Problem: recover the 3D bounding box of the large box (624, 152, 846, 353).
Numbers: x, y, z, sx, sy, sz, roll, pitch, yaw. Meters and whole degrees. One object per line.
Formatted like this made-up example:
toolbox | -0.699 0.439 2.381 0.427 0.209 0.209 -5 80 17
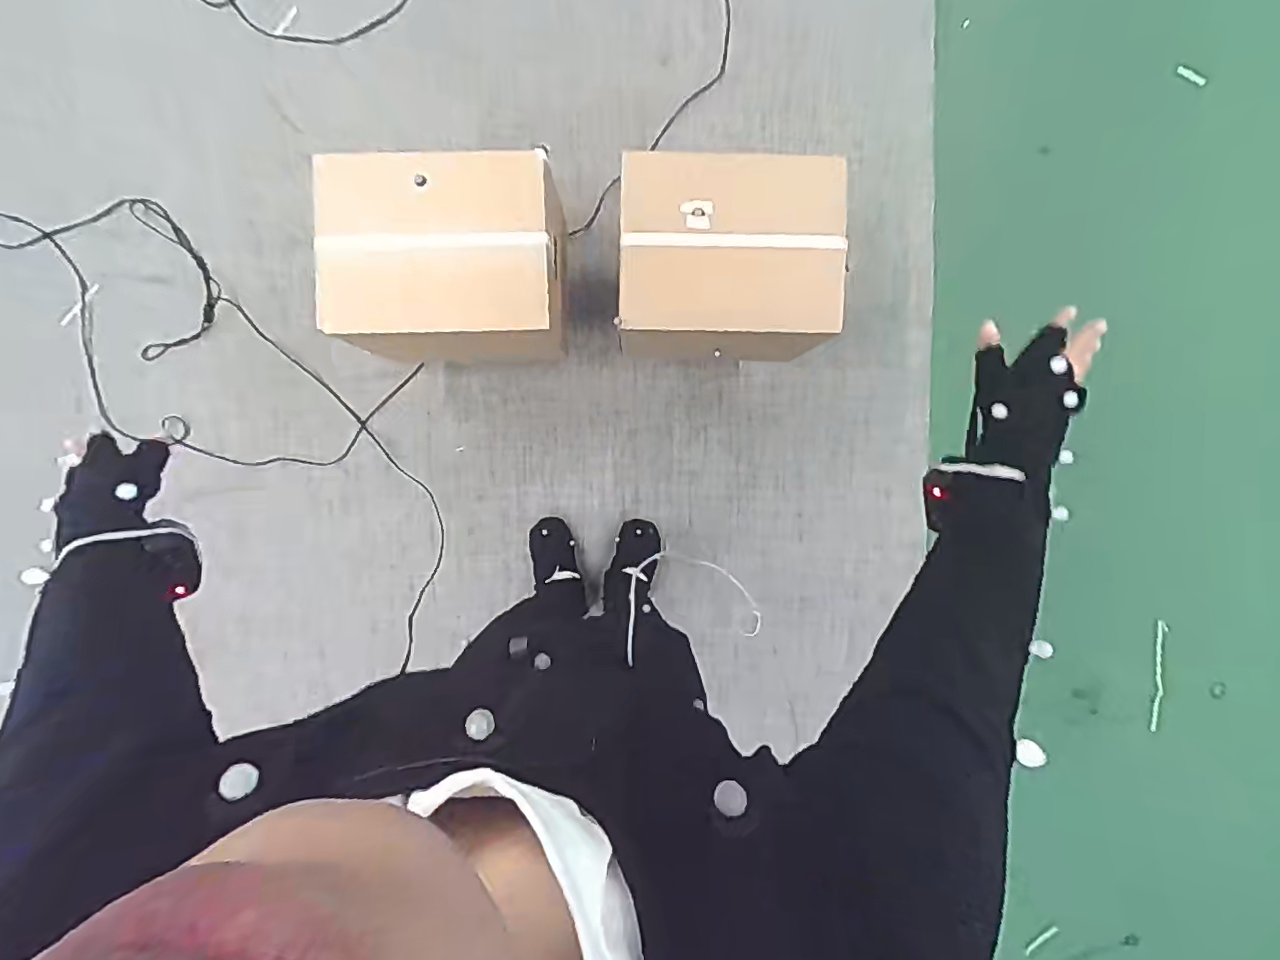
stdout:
large box | 0.171 -0.443 1.123 0.408 0.320 0.320 1 93 -1
